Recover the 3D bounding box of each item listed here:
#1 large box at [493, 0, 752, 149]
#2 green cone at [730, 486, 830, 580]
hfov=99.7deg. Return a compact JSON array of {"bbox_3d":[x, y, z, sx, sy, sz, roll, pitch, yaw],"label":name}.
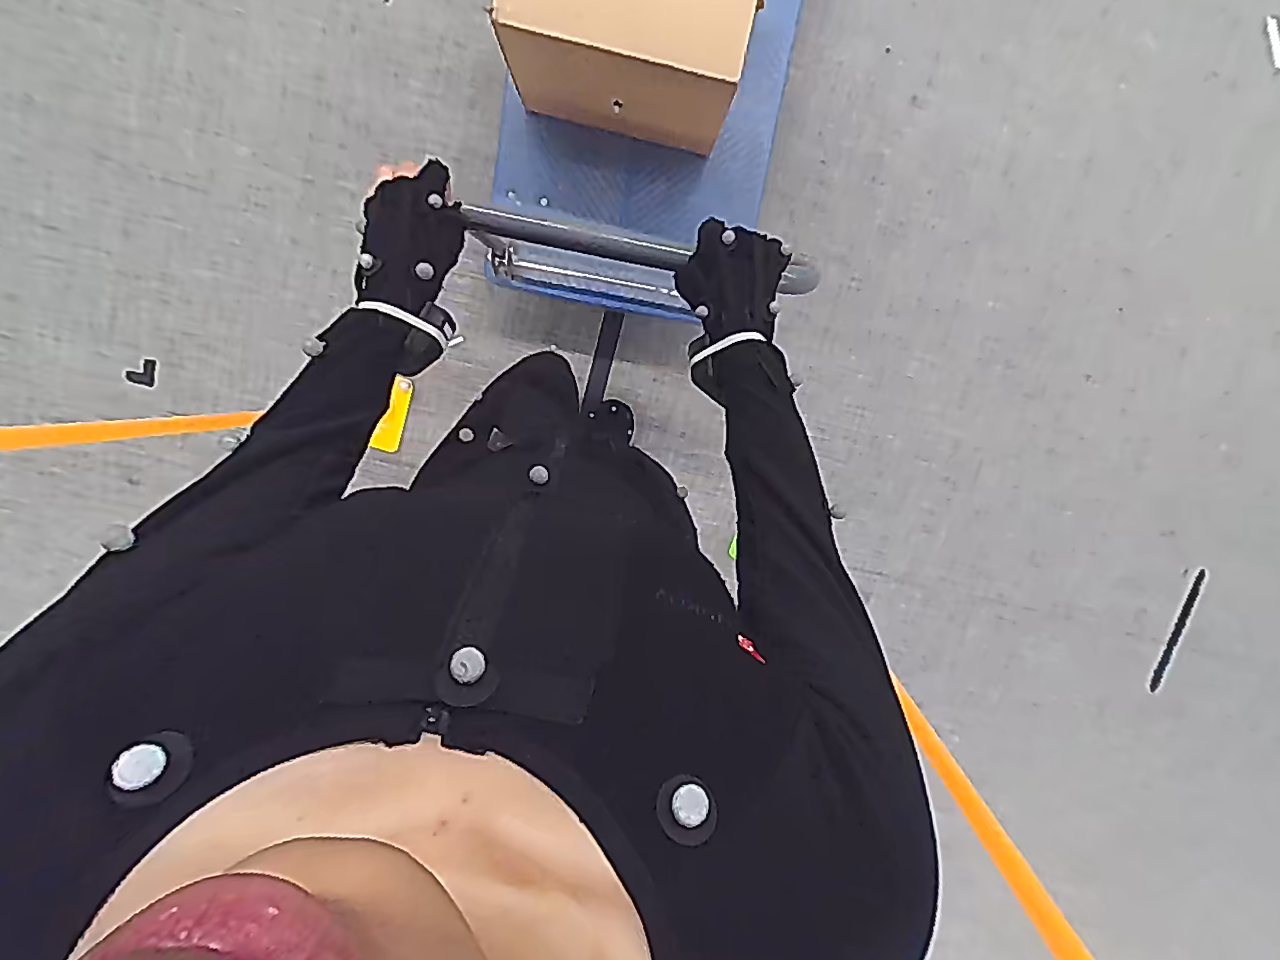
[{"bbox_3d":[-0.011,-0.860,0.984,0.408,0.320,0.320,12,101,-3],"label":"large box"},{"bbox_3d":[0.377,0.165,1.338,0.202,0.368,0.200,18,100,-6],"label":"green cone"}]
